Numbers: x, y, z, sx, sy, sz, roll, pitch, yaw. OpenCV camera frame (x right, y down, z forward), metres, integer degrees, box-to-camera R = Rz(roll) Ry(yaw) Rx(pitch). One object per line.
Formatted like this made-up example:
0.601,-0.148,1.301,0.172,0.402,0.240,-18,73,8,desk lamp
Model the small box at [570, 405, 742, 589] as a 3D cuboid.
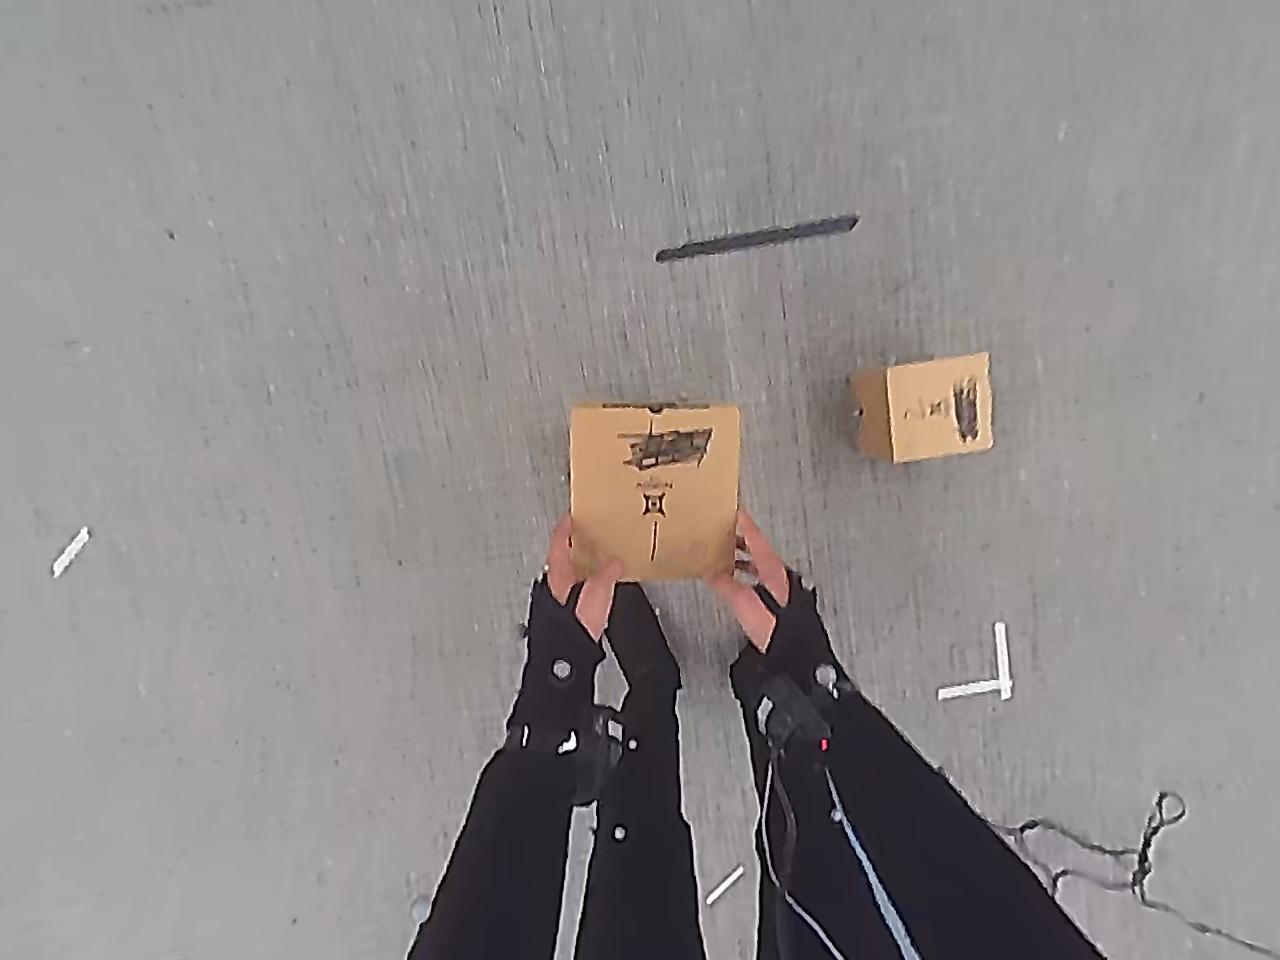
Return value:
0.006,0.008,0.597,0.168,0.176,0.179,0,100,-6,small box
